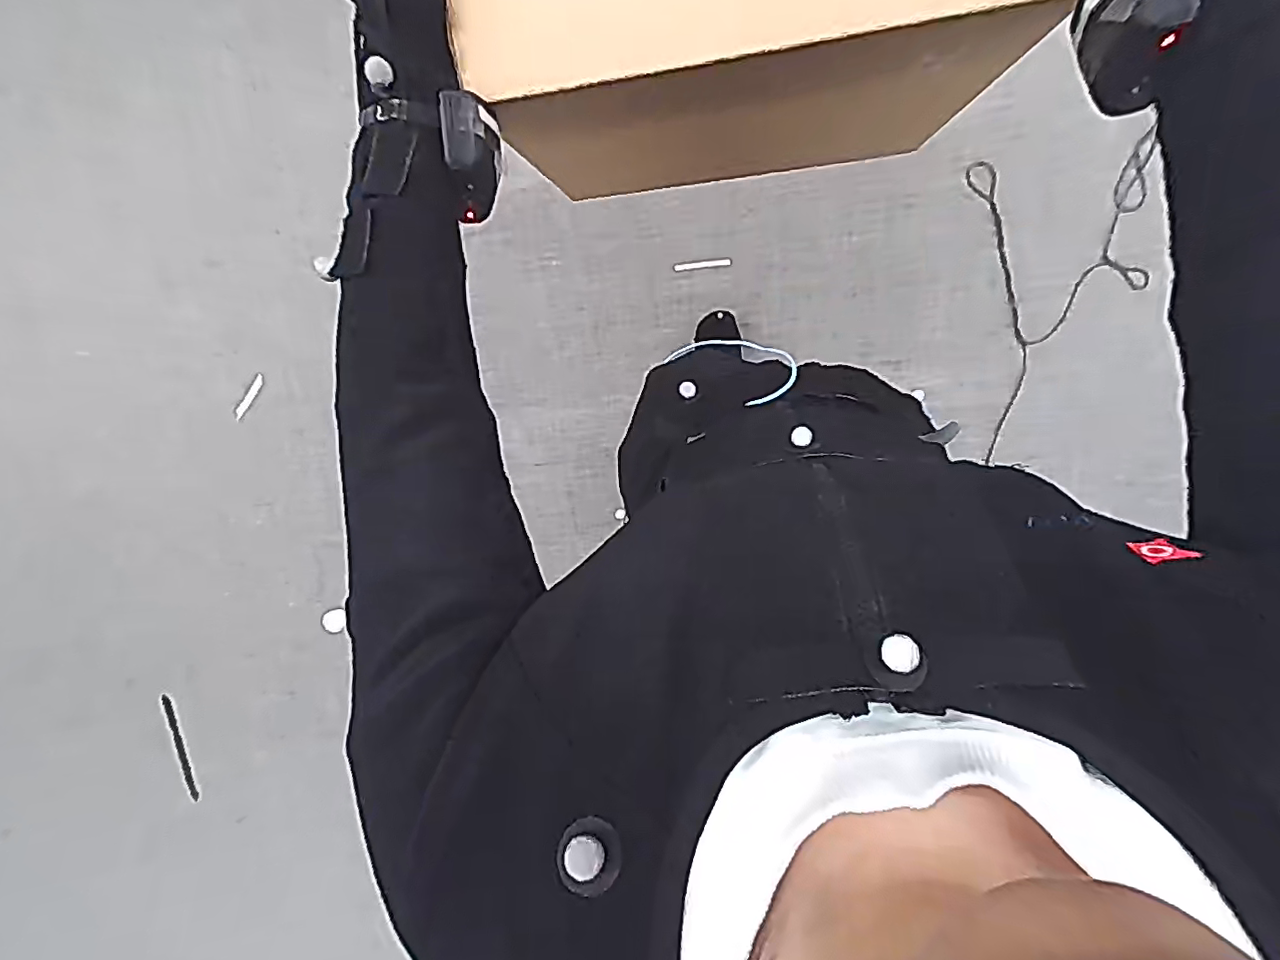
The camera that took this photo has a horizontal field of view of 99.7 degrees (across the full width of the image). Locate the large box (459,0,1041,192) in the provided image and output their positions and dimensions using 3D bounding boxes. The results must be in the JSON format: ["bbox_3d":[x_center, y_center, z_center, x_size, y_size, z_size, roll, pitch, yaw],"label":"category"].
[{"bbox_3d":[0.074,-0.477,0.459,0.408,0.320,0.320,-5,106,8],"label":"large box"}]
